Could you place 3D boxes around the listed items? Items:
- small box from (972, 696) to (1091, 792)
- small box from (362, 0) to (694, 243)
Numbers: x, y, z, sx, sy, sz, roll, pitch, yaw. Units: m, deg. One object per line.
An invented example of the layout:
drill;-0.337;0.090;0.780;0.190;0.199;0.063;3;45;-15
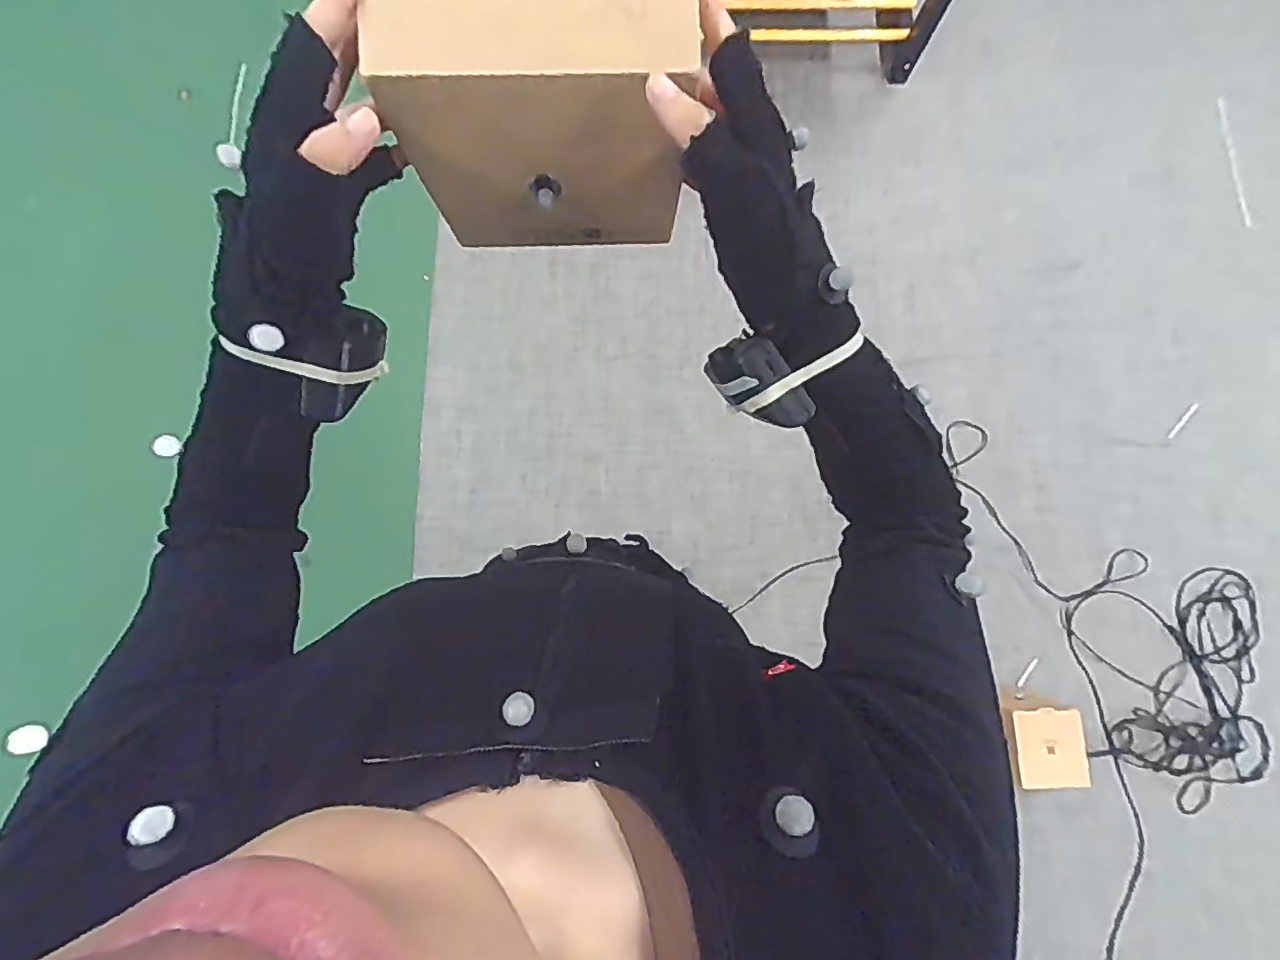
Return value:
small box;0.965;0.651;1.348;0.168;0.176;0.179;-1;80;-1
small box;-0.057;-0.273;0.350;0.168;0.176;0.179;-2;85;-3
